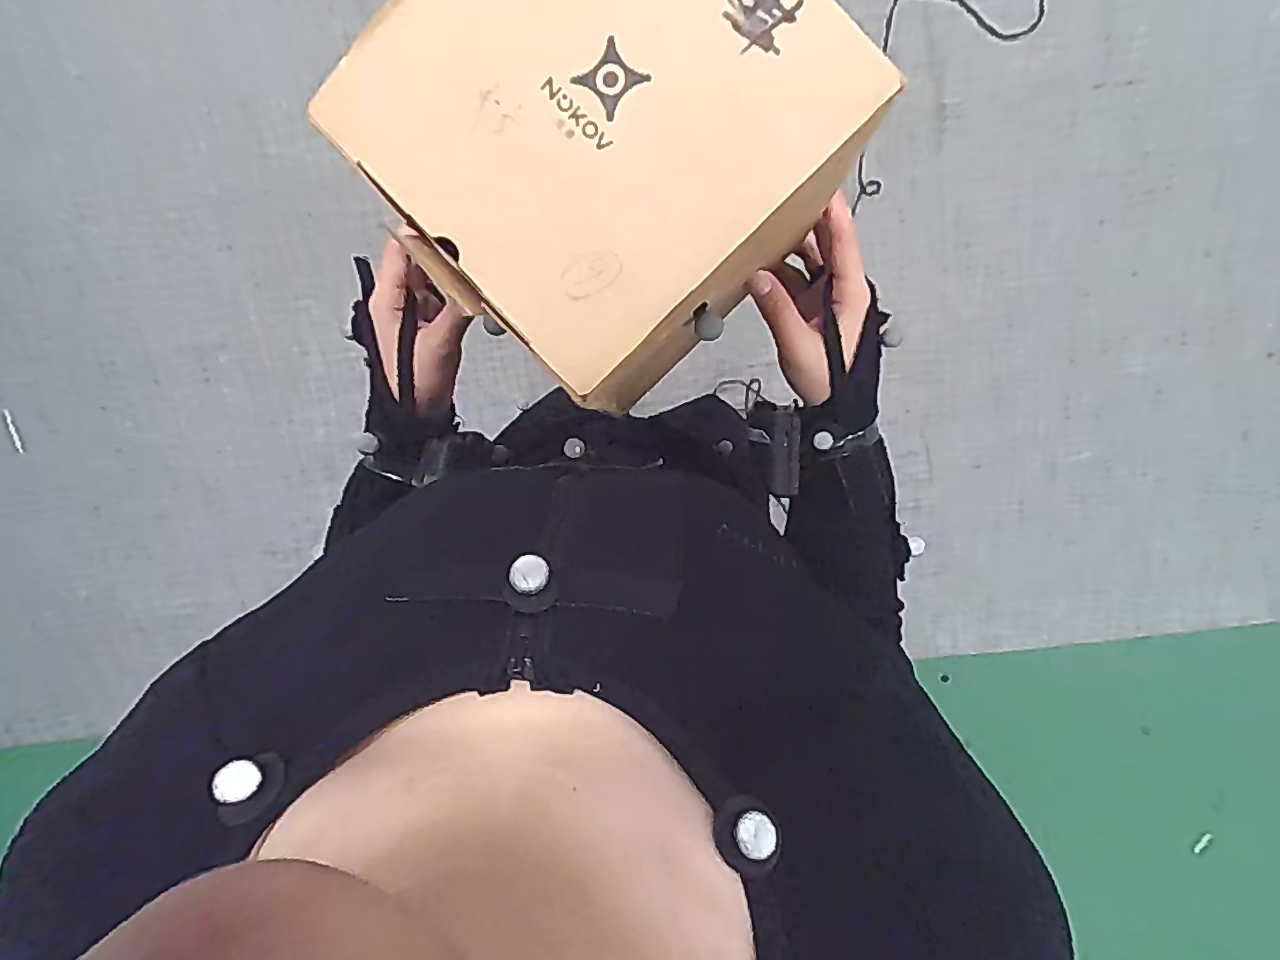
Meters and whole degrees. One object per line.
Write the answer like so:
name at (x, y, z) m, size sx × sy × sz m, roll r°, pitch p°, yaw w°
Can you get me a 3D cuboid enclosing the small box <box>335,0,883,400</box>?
small box at (-0.011, -0.161, 0.304) m, size 0.179 × 0.176 × 0.168 m, roll -44°, pitch 91°, yaw 6°
